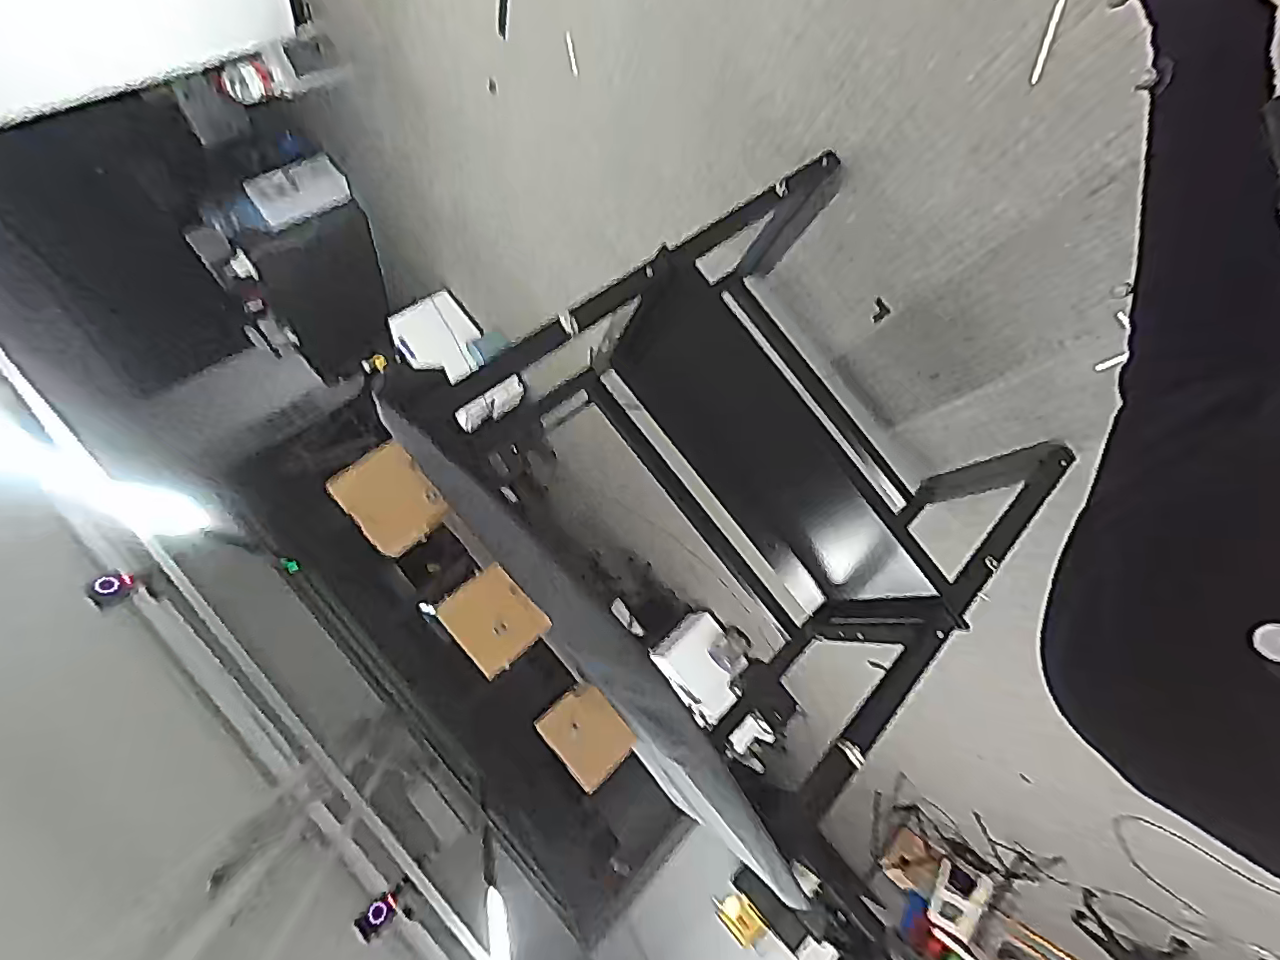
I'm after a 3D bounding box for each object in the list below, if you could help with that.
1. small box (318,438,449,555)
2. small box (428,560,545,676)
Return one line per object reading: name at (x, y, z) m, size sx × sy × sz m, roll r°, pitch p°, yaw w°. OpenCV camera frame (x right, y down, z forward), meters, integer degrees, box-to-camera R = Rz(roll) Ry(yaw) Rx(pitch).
small box at (-0.513, 0.036, 1.113) m, size 0.168 × 0.176 × 0.179 m, roll 52°, pitch 161°, yaw -3°
small box at (-0.319, 0.284, 1.141) m, size 0.168 × 0.176 × 0.179 m, roll 51°, pitch 160°, yaw 0°
